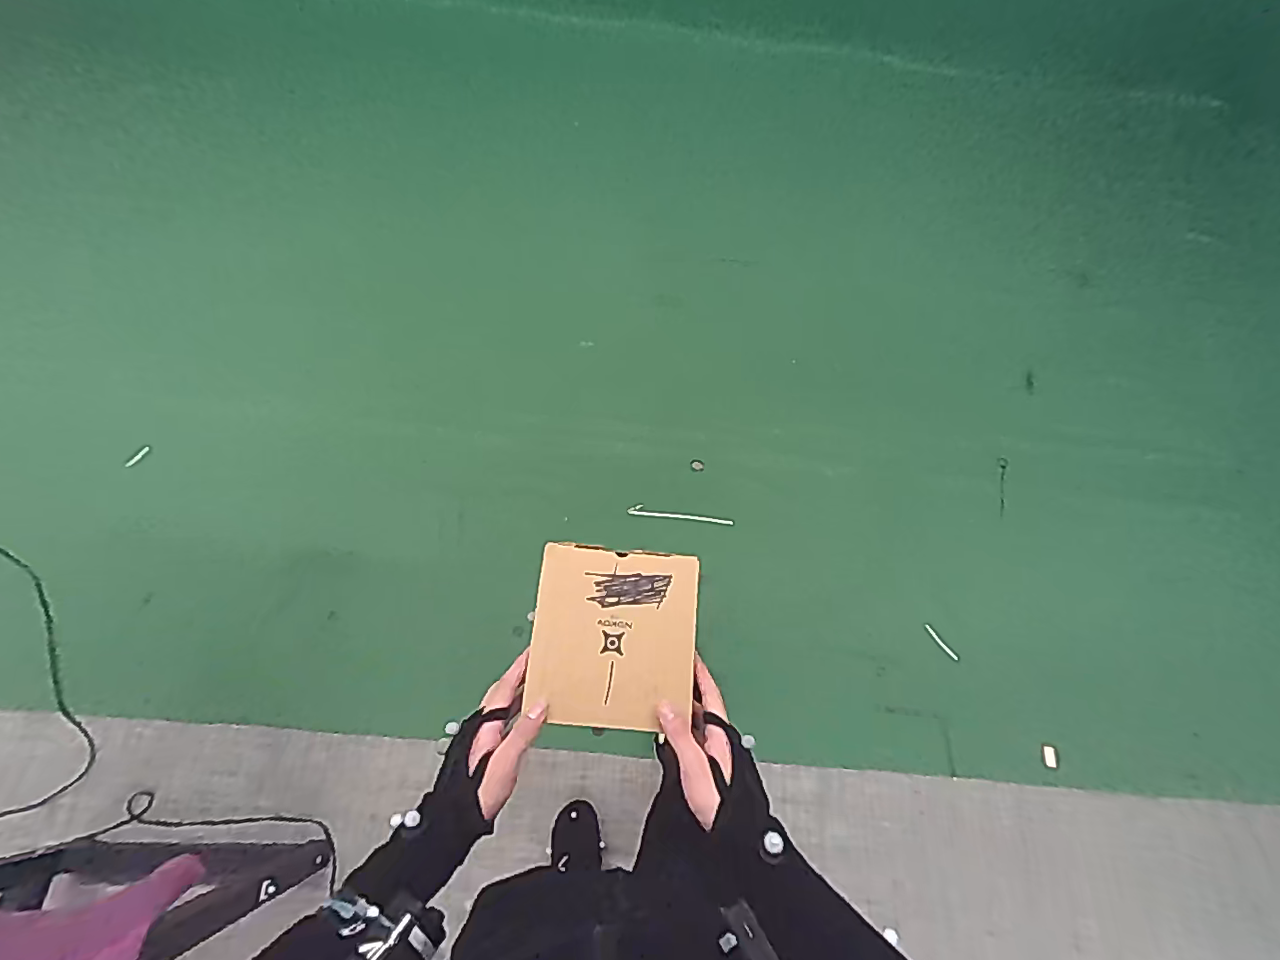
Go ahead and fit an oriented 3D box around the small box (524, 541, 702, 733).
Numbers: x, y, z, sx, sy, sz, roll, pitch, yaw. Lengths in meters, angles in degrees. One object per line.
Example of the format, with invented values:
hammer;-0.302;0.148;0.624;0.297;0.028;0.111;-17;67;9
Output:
small box;-0.029;0.180;0.618;0.168;0.176;0.179;6;70;-2
